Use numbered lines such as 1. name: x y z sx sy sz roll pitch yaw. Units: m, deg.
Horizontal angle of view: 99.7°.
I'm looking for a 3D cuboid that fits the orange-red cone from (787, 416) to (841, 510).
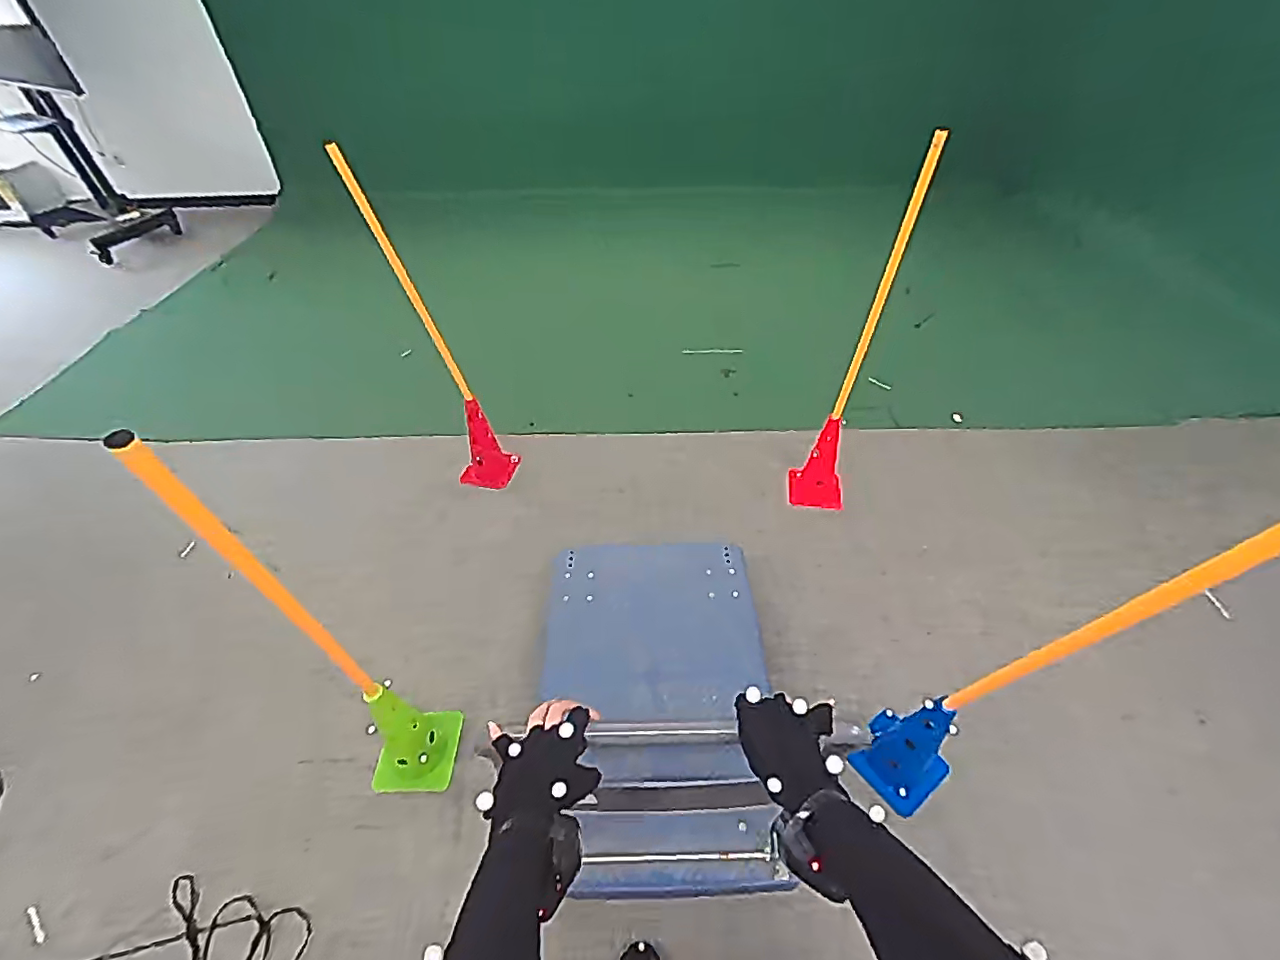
1. orange-red cone: 0.668 -0.083 1.976 0.198 0.360 0.199 7 46 9
